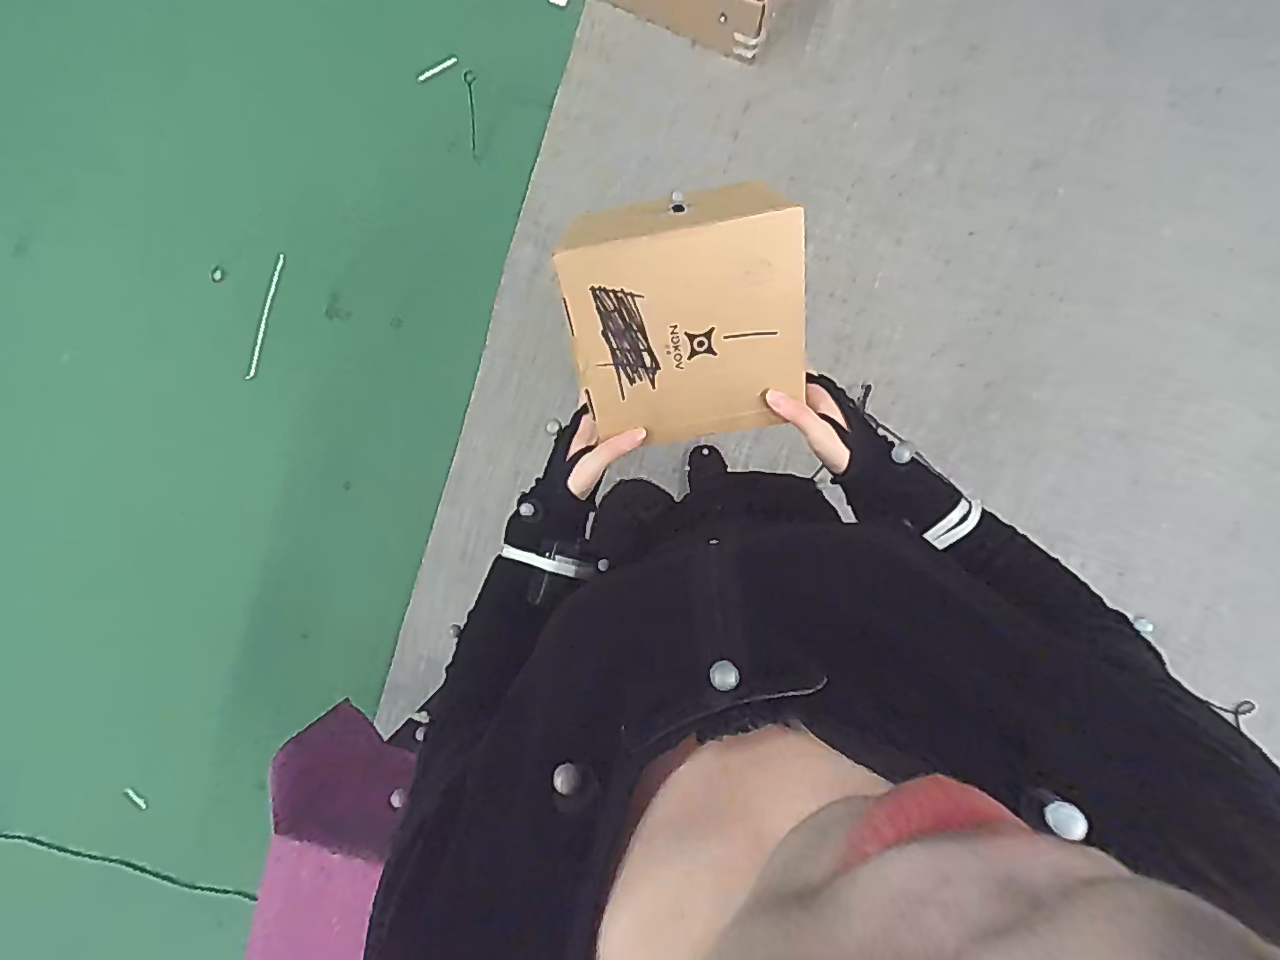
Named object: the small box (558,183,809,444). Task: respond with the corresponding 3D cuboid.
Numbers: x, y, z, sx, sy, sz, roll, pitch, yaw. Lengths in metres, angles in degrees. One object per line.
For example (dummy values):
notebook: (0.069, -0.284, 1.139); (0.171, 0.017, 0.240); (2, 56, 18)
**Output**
small box: (0.039, -0.152, 0.478); (0.179, 0.176, 0.168); (-8, 124, 4)
